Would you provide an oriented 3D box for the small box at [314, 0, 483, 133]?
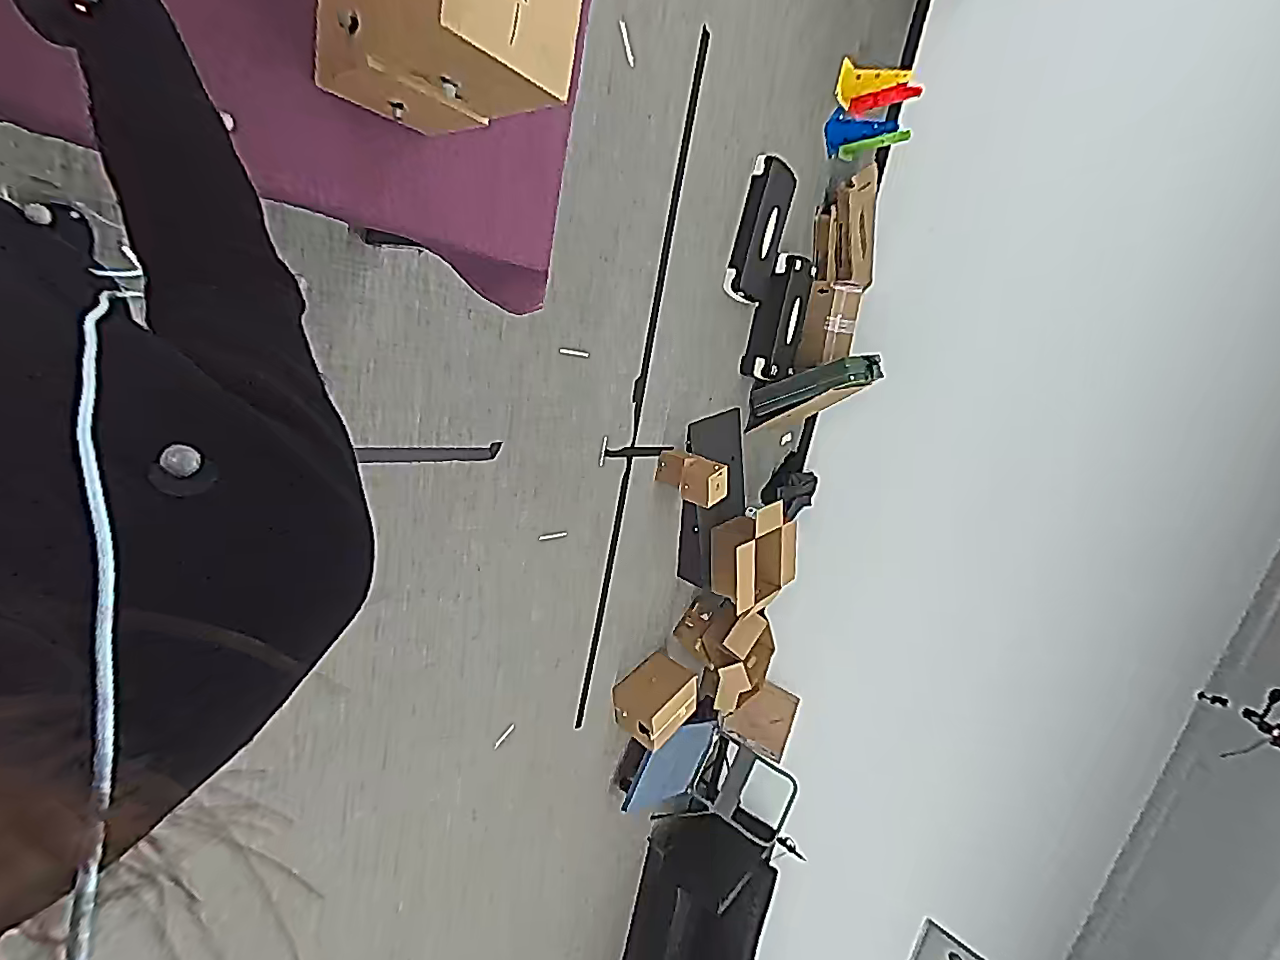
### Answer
[{"bbox_3d":[-0.315,-0.593,0.723,0.168,0.176,0.179,-5,111,-50],"label":"small box"}]

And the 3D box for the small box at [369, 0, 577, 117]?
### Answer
[{"bbox_3d":[-0.191,-0.553,0.622,0.168,0.176,0.179,-4,111,-49],"label":"small box"}]
